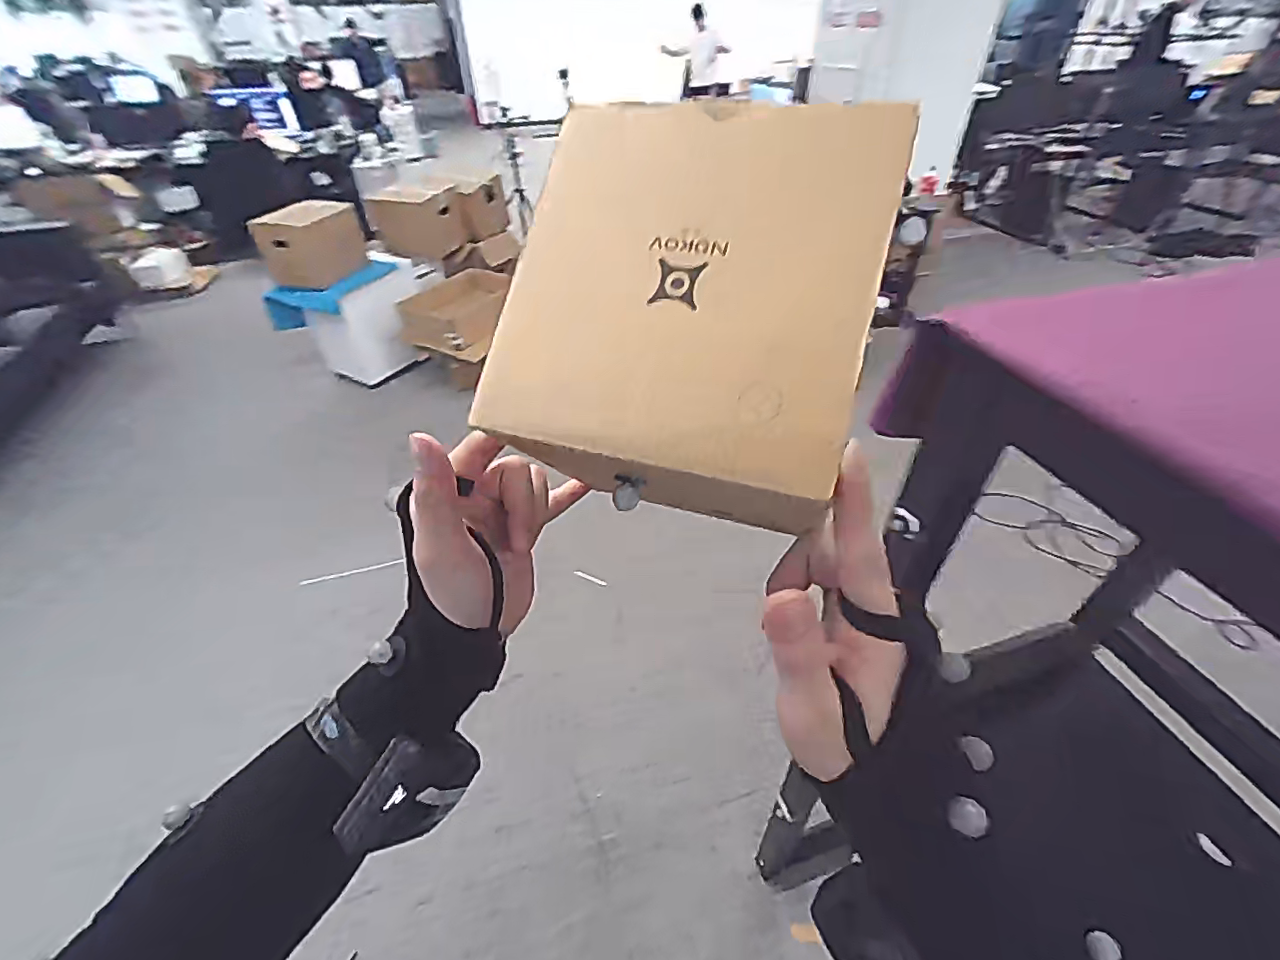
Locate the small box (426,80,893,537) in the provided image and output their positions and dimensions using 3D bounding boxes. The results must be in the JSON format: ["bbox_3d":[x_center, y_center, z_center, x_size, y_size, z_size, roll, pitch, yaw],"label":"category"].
[{"bbox_3d":[0.023,-0.075,0.301,0.168,0.176,0.179,14,81,18],"label":"small box"}]
